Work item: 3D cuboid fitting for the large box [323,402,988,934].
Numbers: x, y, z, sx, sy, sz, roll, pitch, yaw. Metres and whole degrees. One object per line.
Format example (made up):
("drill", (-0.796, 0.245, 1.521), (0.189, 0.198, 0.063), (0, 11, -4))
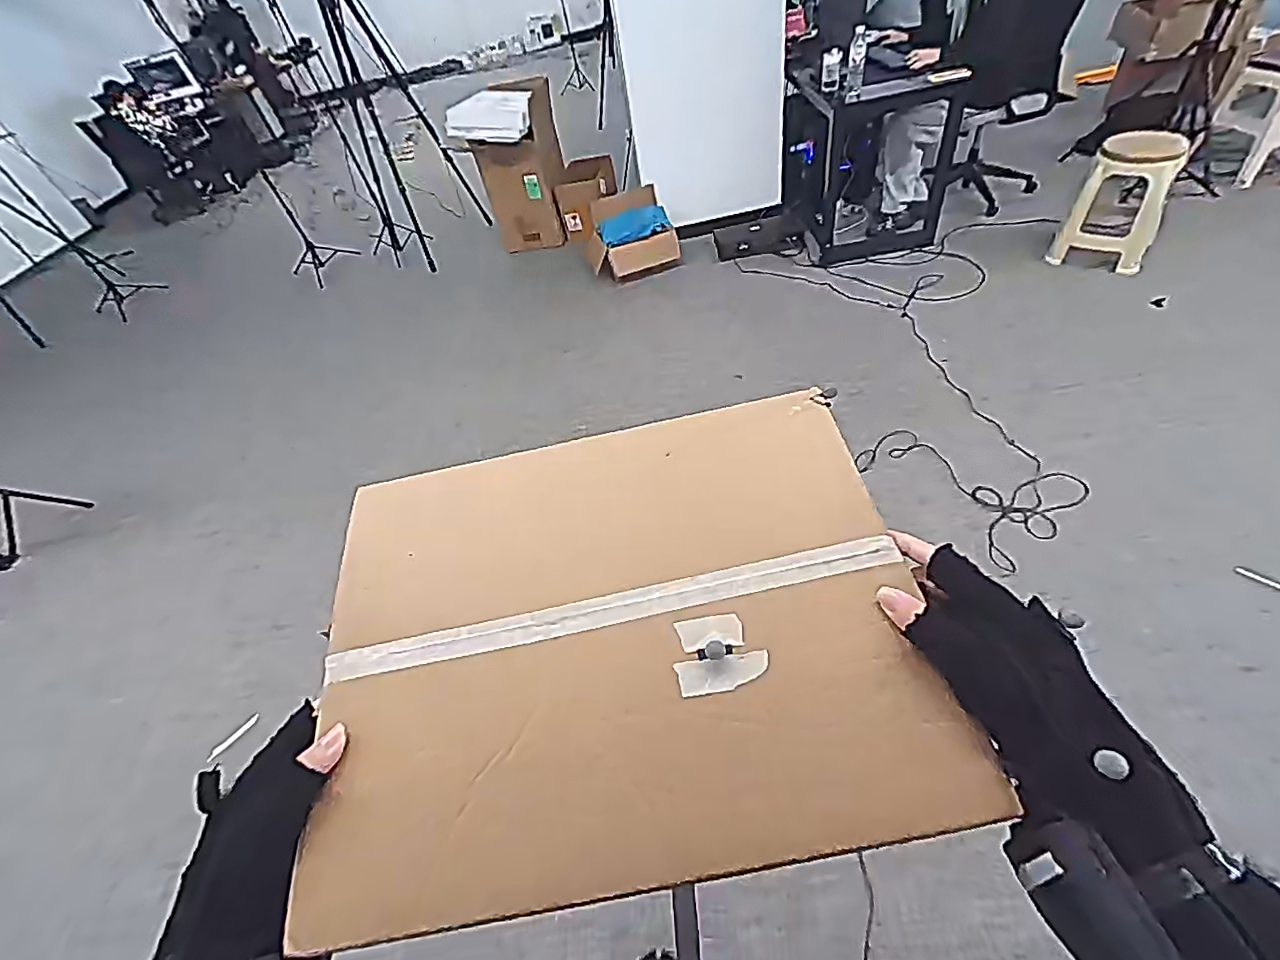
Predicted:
("large box", (0.002, 0.179, 0.516), (0.408, 0.320, 0.320), (-12, 56, 1))
